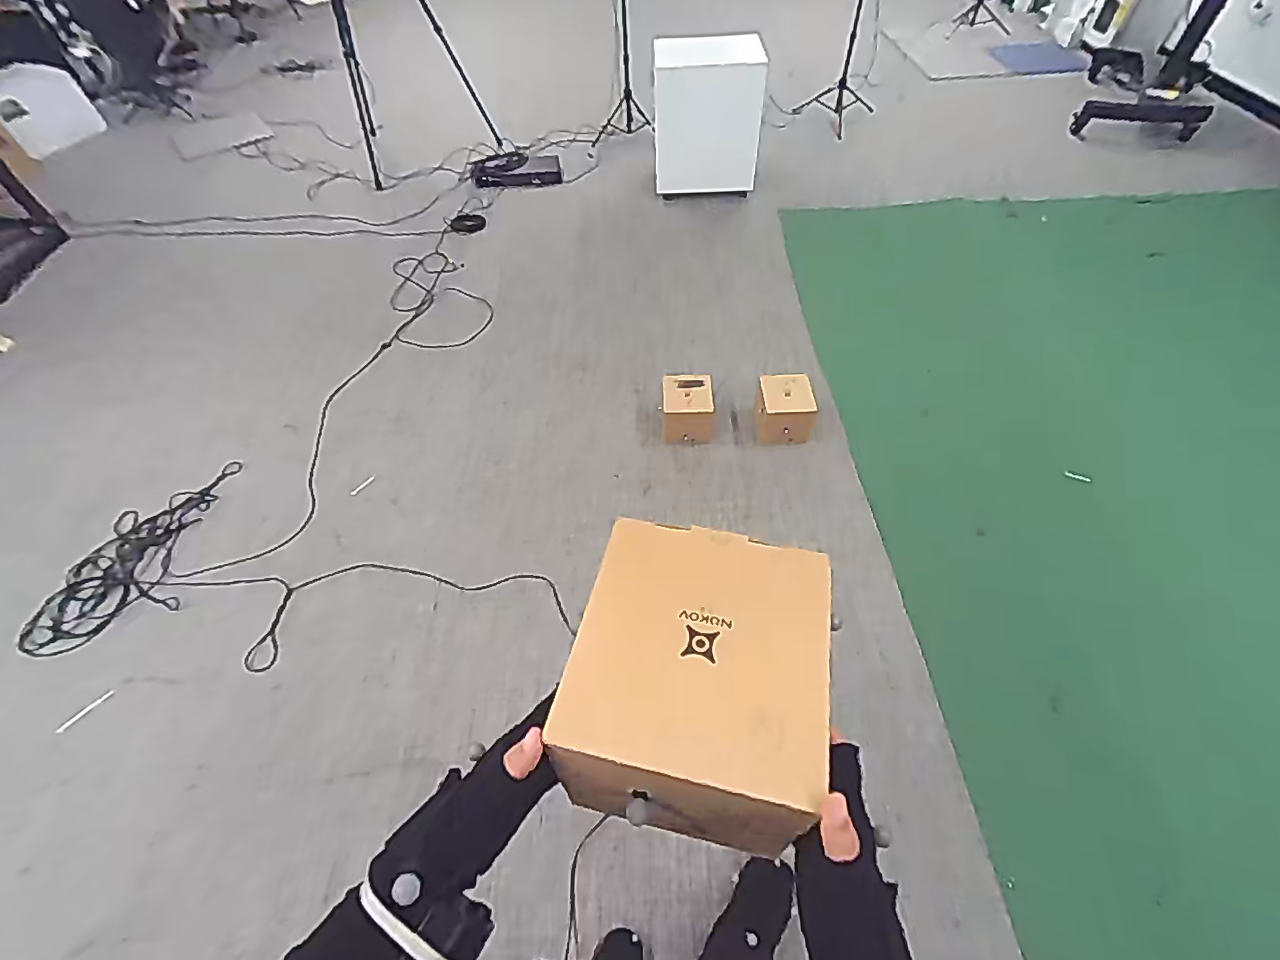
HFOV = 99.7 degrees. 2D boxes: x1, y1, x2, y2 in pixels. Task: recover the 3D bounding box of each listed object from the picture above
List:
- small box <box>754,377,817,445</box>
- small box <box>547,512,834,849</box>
[{"bbox_3d":[0.493,-0.233,1.858,0.168,0.176,0.179,-2,54,0],"label":"small box"},{"bbox_3d":[0.046,0.154,0.414,0.168,0.176,0.179,9,47,10],"label":"small box"}]
